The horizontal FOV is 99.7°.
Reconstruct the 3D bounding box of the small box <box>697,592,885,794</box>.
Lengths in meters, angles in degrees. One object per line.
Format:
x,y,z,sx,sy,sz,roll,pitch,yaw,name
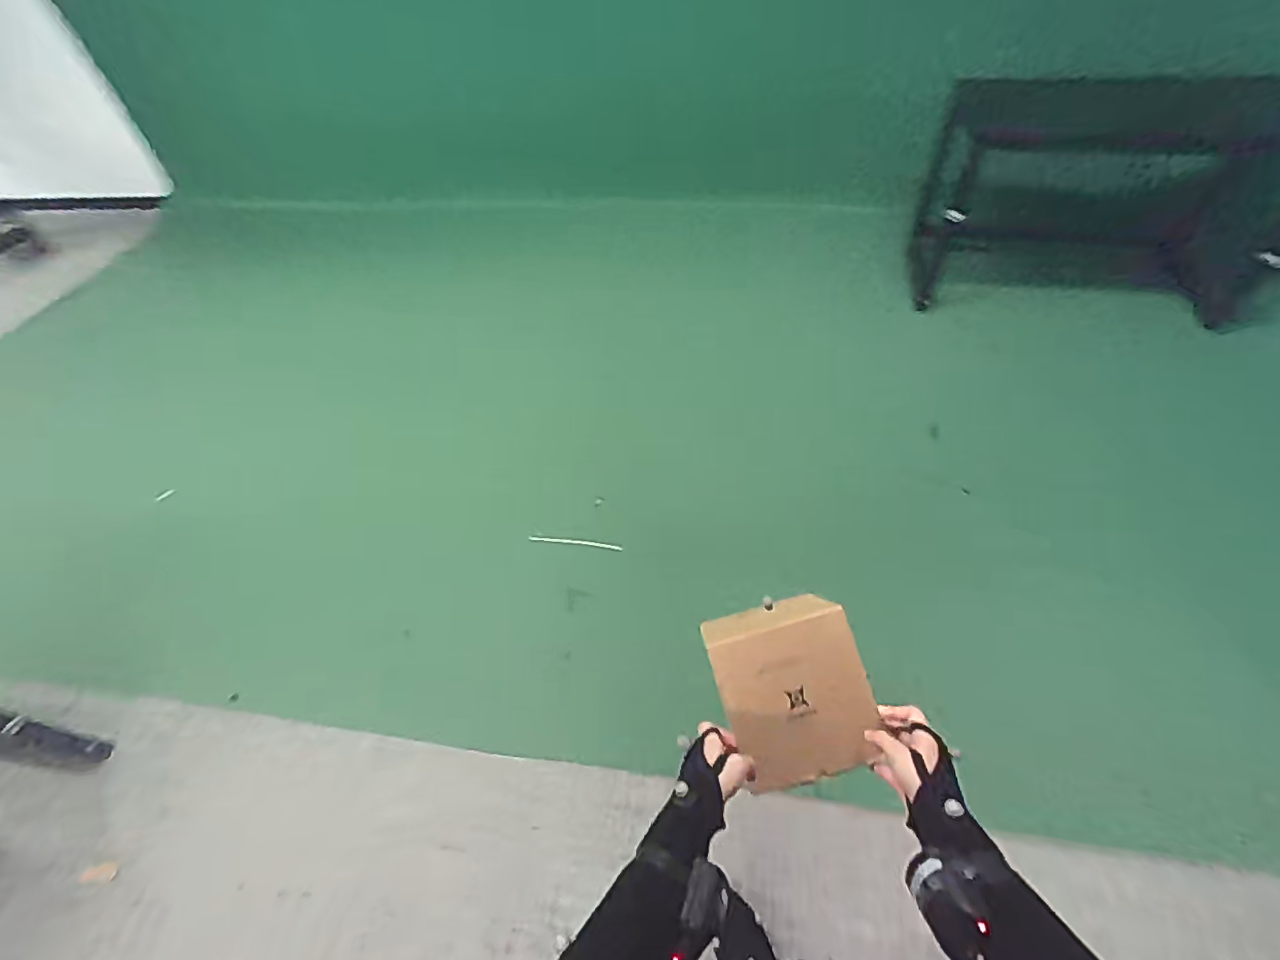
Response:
0.177,0.255,0.690,0.168,0.176,0.179,-18,83,1,small box
